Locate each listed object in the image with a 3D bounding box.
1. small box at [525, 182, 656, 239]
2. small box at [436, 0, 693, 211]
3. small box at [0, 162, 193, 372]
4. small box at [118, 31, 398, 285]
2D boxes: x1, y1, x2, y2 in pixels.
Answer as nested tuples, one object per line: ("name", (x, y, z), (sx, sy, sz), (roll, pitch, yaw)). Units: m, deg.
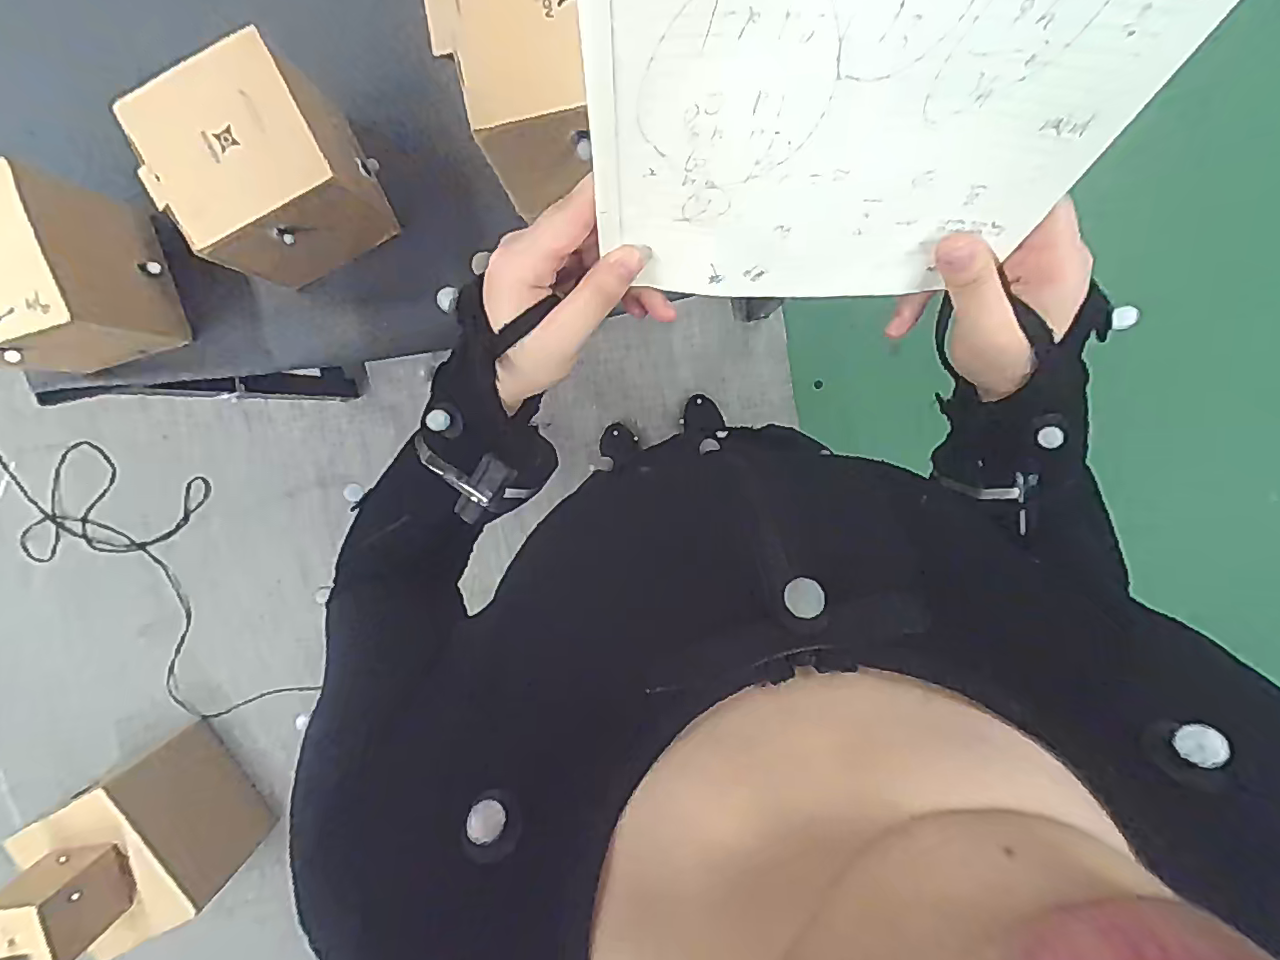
("small box", (-0.062, -0.403, 0.627), (0.168, 0.176, 0.179), (5, 97, 1))
("small box", (-0.059, -0.361, 0.469), (0.179, 0.176, 0.168), (-11, 96, 3))
("small box", (-0.710, -0.242, 0.659), (0.168, 0.176, 0.179), (-16, 96, 3))
("small box", (-0.430, -0.357, 0.642), (0.179, 0.176, 0.168), (-26, 96, 3))
